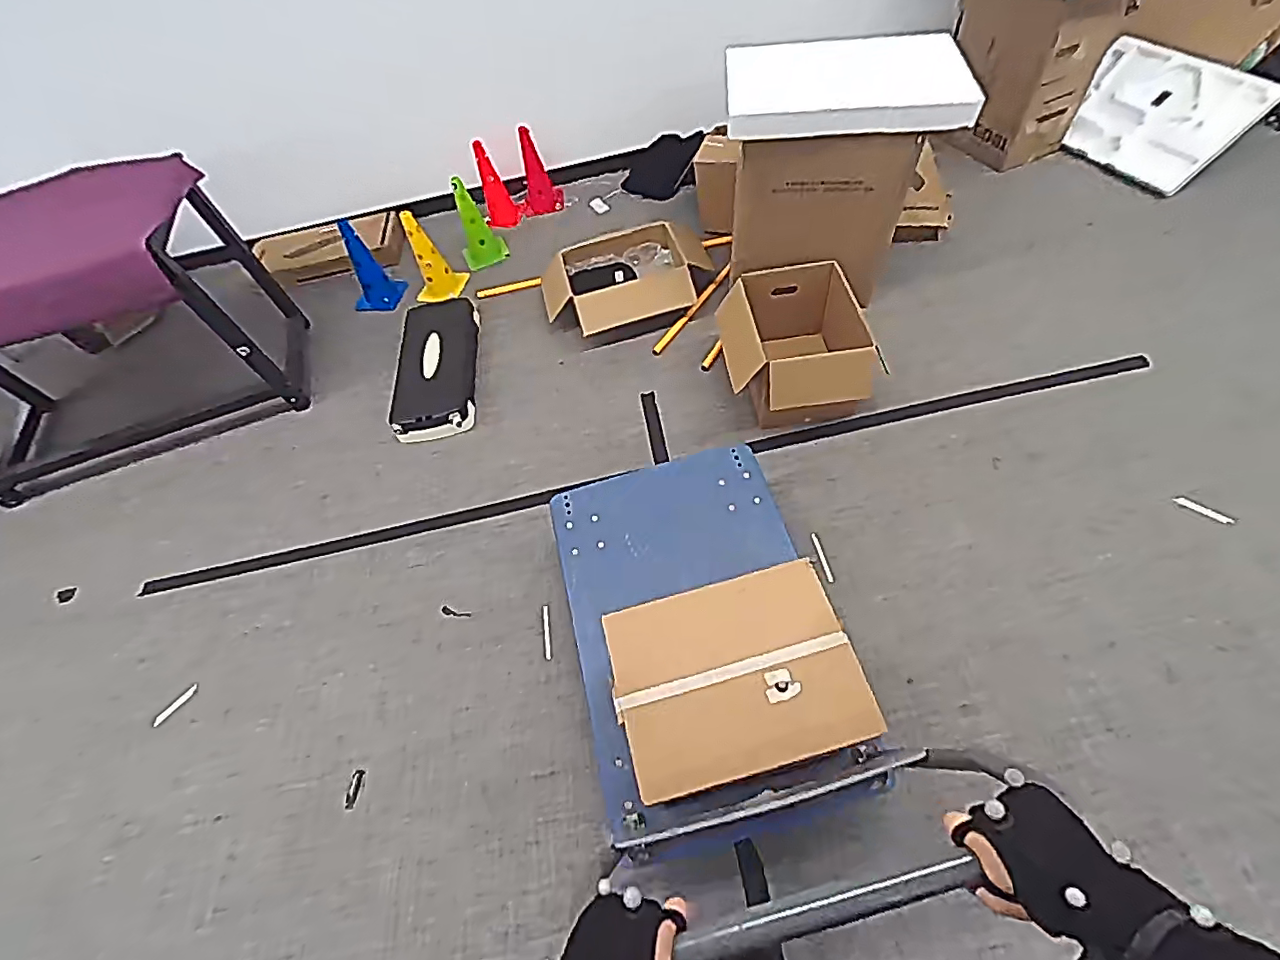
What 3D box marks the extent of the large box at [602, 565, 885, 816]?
[{"bbox_3d":[0.172,0.411,1.040,0.408,0.320,0.320,-15,60,-3],"label":"large box"}]
